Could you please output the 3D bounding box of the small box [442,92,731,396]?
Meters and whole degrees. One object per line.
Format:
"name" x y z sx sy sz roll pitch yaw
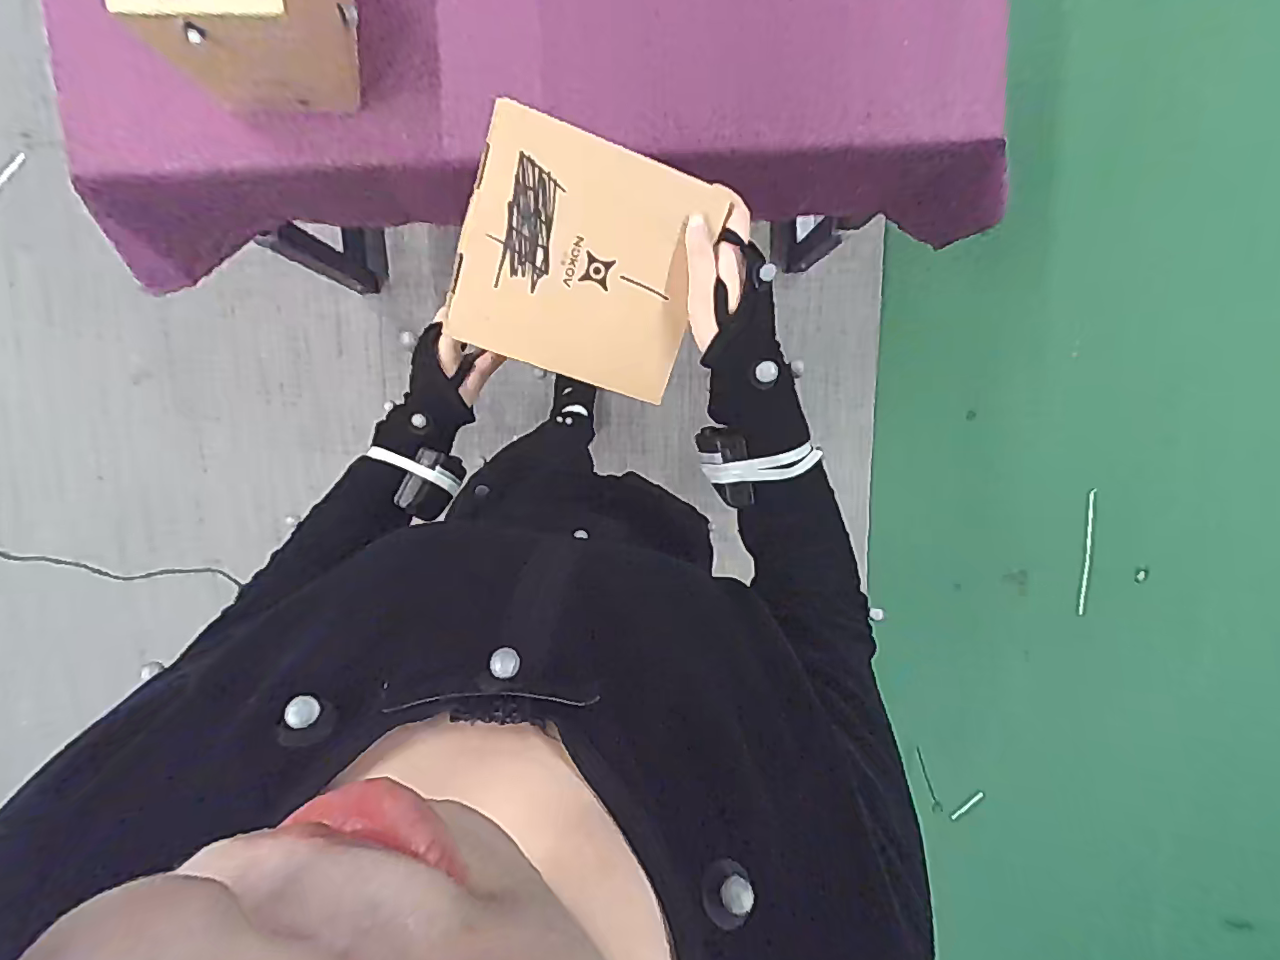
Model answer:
"small box" -0.049 -0.188 0.476 0.179 0.176 0.168 18 104 -12

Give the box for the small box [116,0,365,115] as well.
"small box" -0.423 -0.542 0.592 0.168 0.176 0.179 -1 96 -2
